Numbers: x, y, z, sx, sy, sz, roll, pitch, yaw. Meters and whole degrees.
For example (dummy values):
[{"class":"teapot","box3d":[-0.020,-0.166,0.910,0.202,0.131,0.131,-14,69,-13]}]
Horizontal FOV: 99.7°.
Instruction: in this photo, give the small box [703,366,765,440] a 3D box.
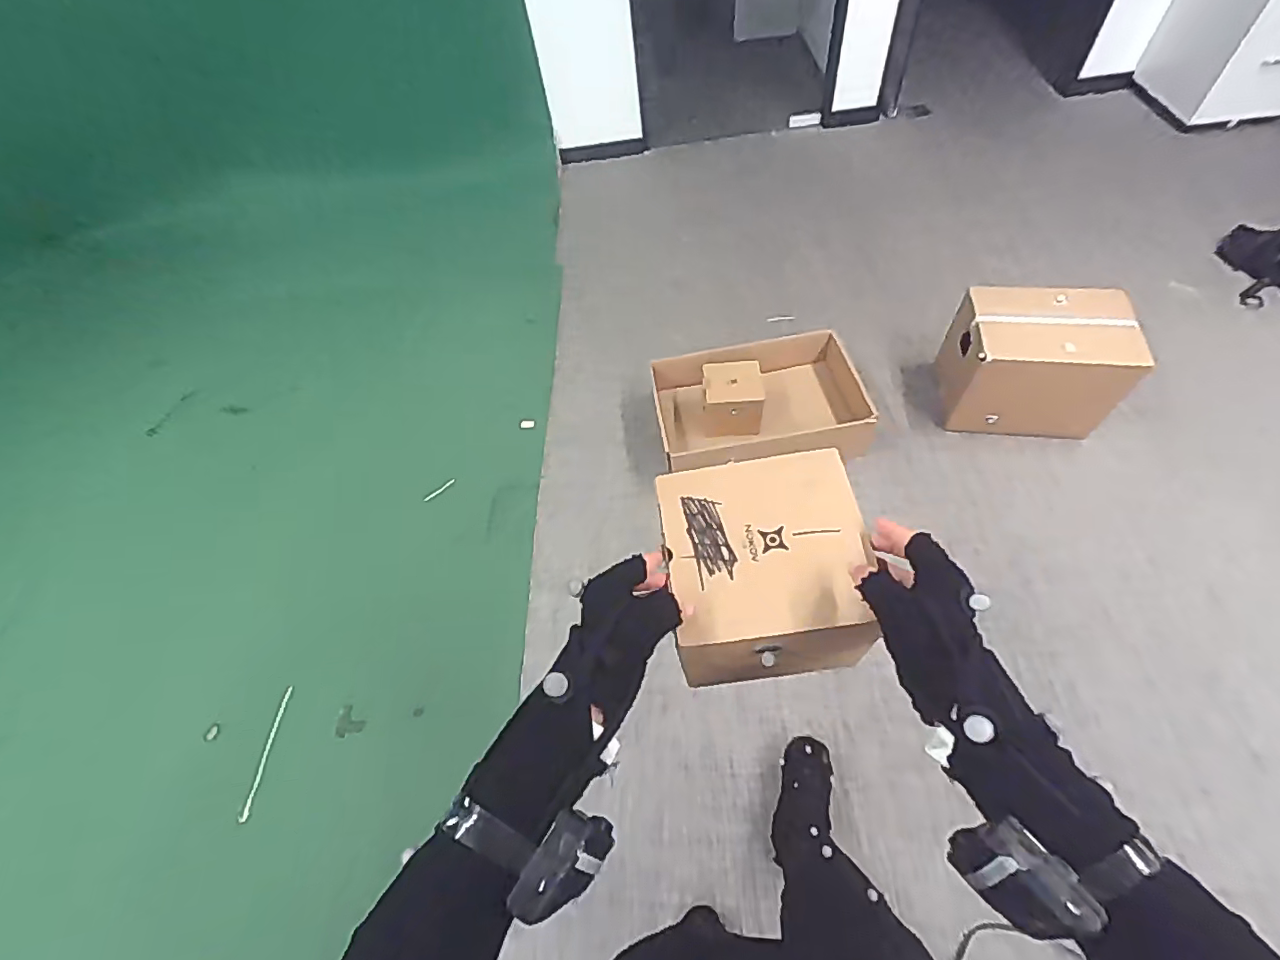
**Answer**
[{"class":"small box","box3d":[0.293,-0.241,1.718,0.179,0.176,0.168,-3,56,3]}]

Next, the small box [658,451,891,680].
[{"class":"small box","box3d":[0.120,0.095,0.544,0.179,0.176,0.168,-8,58,3]}]
